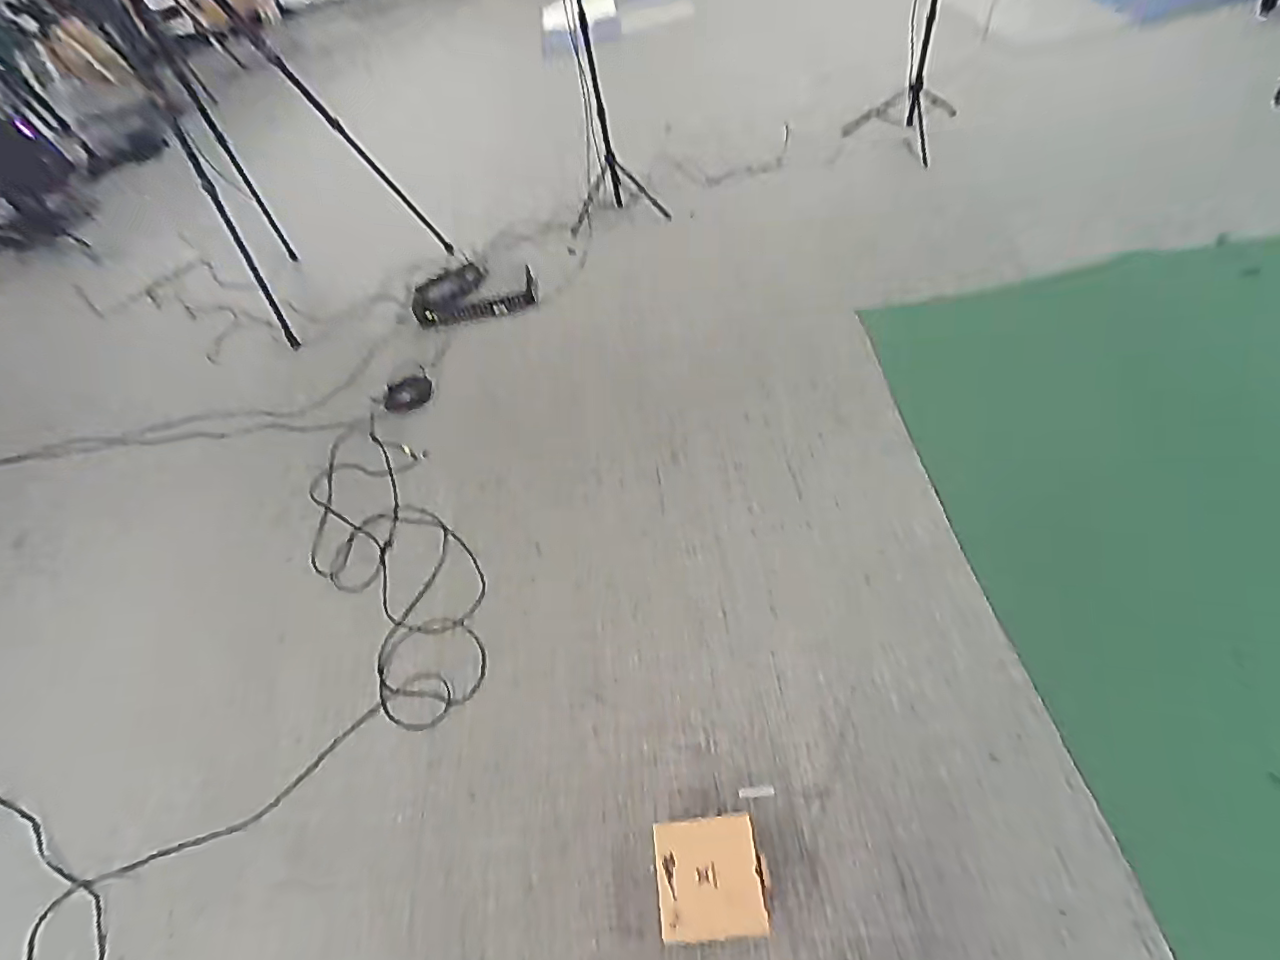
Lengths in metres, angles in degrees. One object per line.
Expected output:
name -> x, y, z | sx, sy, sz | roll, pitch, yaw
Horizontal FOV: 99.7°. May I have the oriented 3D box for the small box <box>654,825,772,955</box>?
small box -> 0.127, 0.725, 0.969 | 0.179, 0.176, 0.168 | -10, 54, 4
